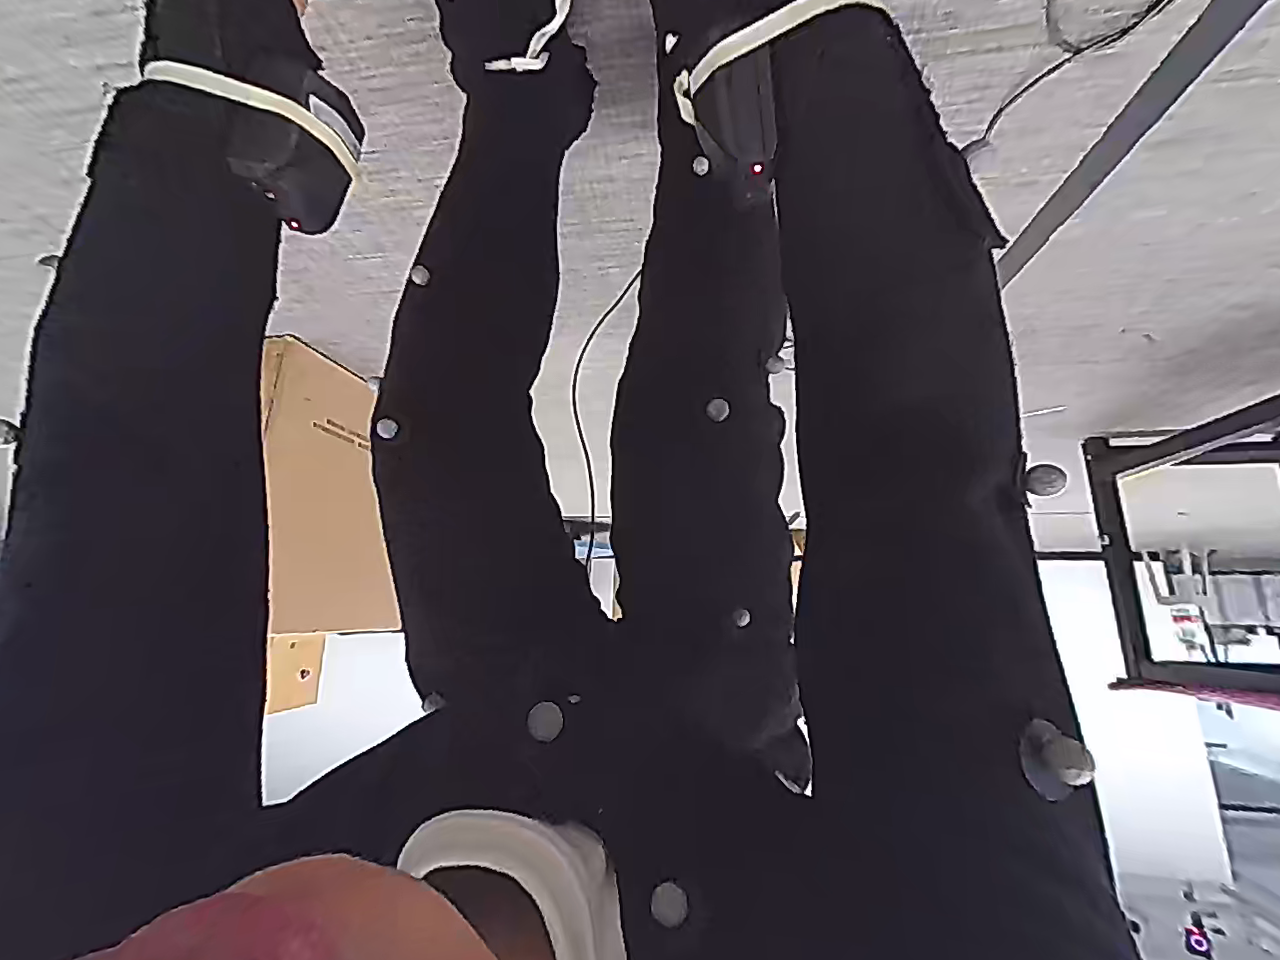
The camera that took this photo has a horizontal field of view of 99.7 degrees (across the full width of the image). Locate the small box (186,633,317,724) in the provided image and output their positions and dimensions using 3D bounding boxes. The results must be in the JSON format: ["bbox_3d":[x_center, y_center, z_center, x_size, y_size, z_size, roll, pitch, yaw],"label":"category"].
[{"bbox_3d":[-0.864,0.441,1.222,0.179,0.176,0.168,0,167,8],"label":"small box"}]
